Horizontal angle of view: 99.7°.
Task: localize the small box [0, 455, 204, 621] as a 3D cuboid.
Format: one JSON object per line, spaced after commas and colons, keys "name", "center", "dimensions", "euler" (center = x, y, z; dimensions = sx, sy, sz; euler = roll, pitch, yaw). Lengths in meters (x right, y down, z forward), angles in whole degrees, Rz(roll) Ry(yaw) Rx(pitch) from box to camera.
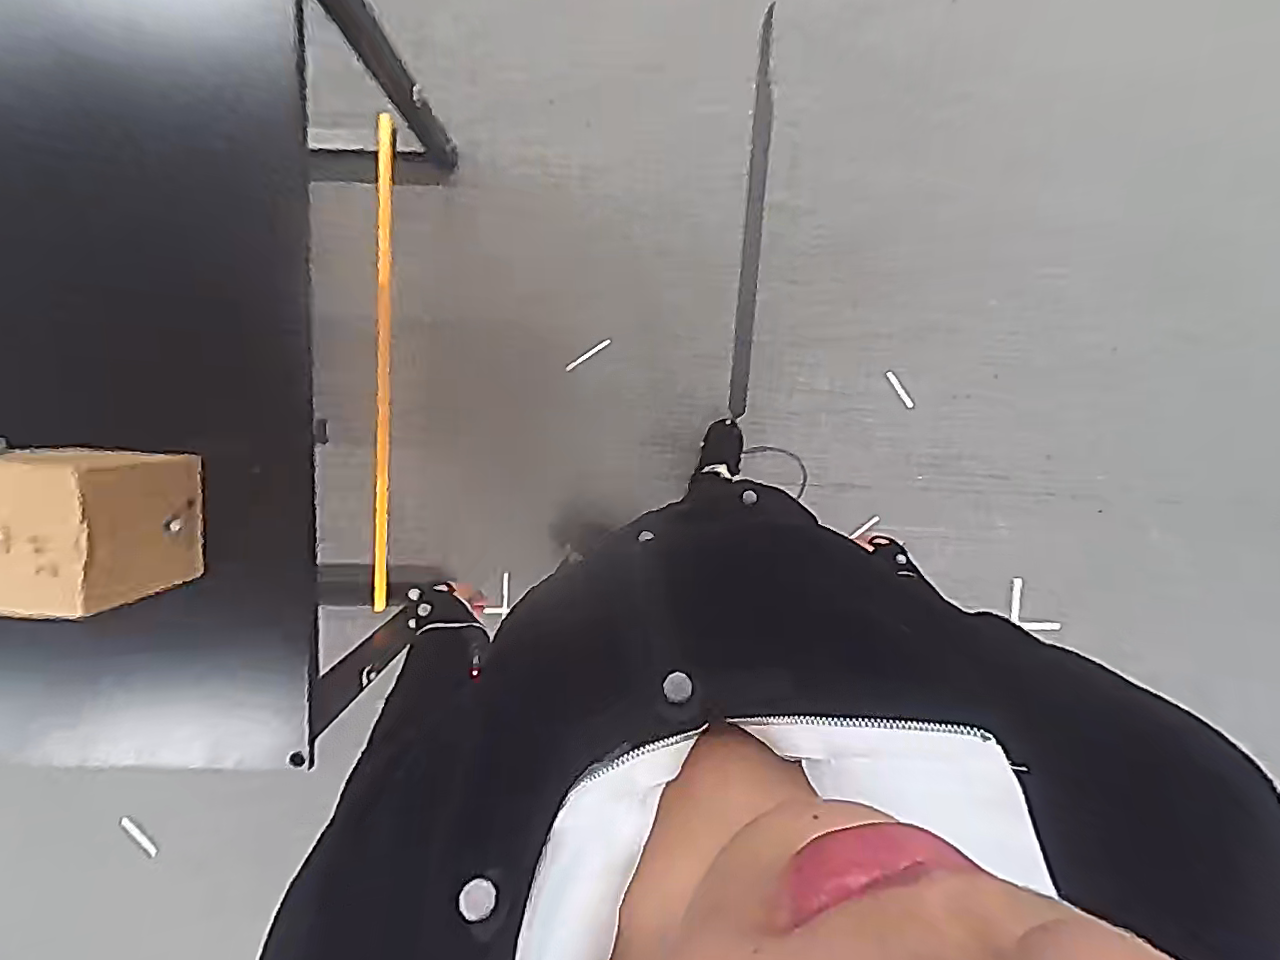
{"name": "small box", "center": [-0.680, 0.059, 0.654], "dimensions": [0.179, 0.176, 0.168], "euler": [3, 96, -2]}
